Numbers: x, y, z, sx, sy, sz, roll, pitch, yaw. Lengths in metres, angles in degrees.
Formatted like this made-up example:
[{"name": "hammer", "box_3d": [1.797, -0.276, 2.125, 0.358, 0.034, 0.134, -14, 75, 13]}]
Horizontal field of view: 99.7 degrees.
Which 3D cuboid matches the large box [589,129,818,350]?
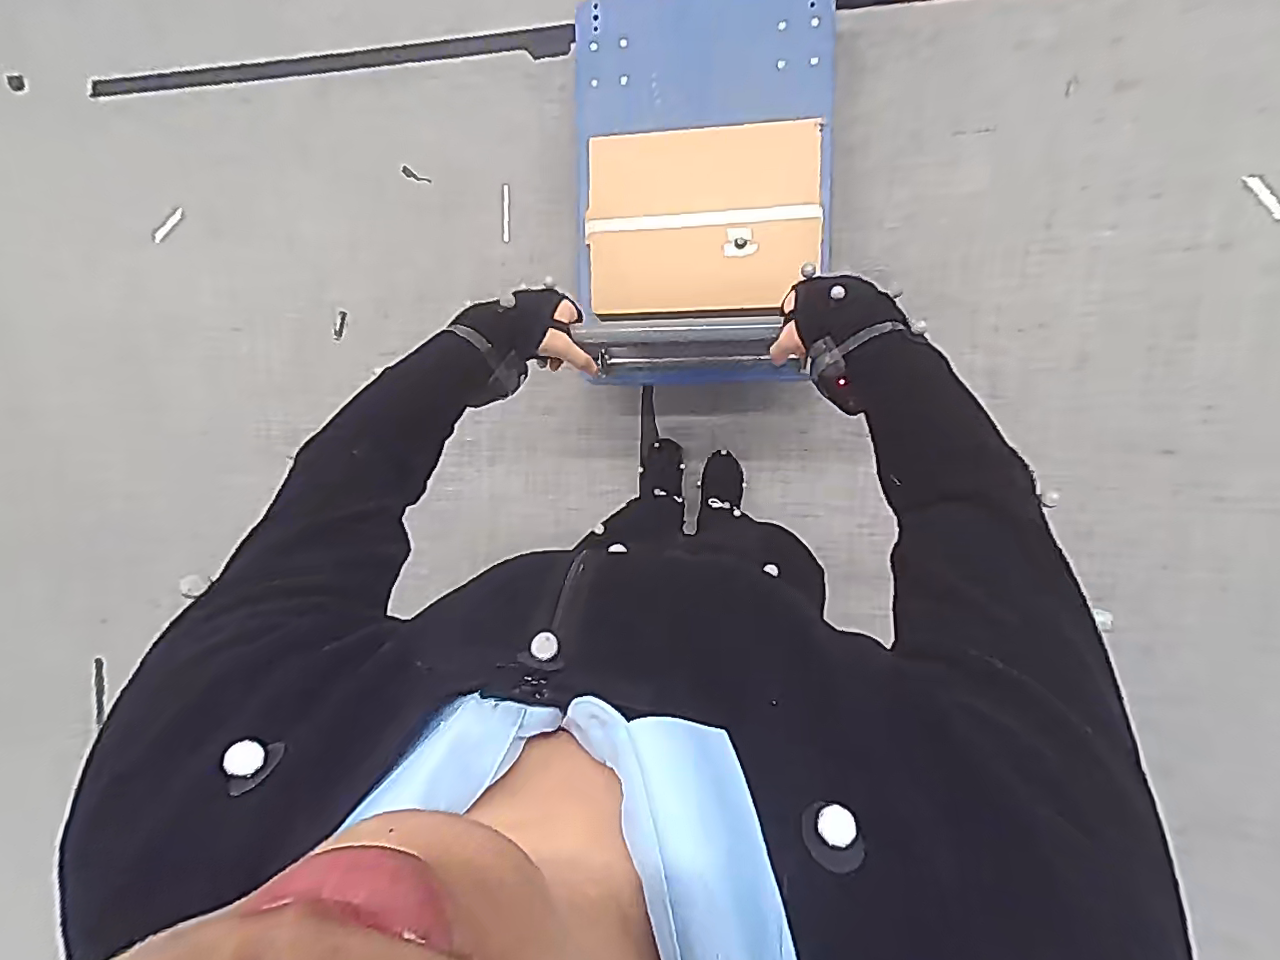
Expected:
[{"name": "large box", "box_3d": [0.124, -0.452, 1.099, 0.408, 0.320, 0.320, 0, 95, 7]}]
